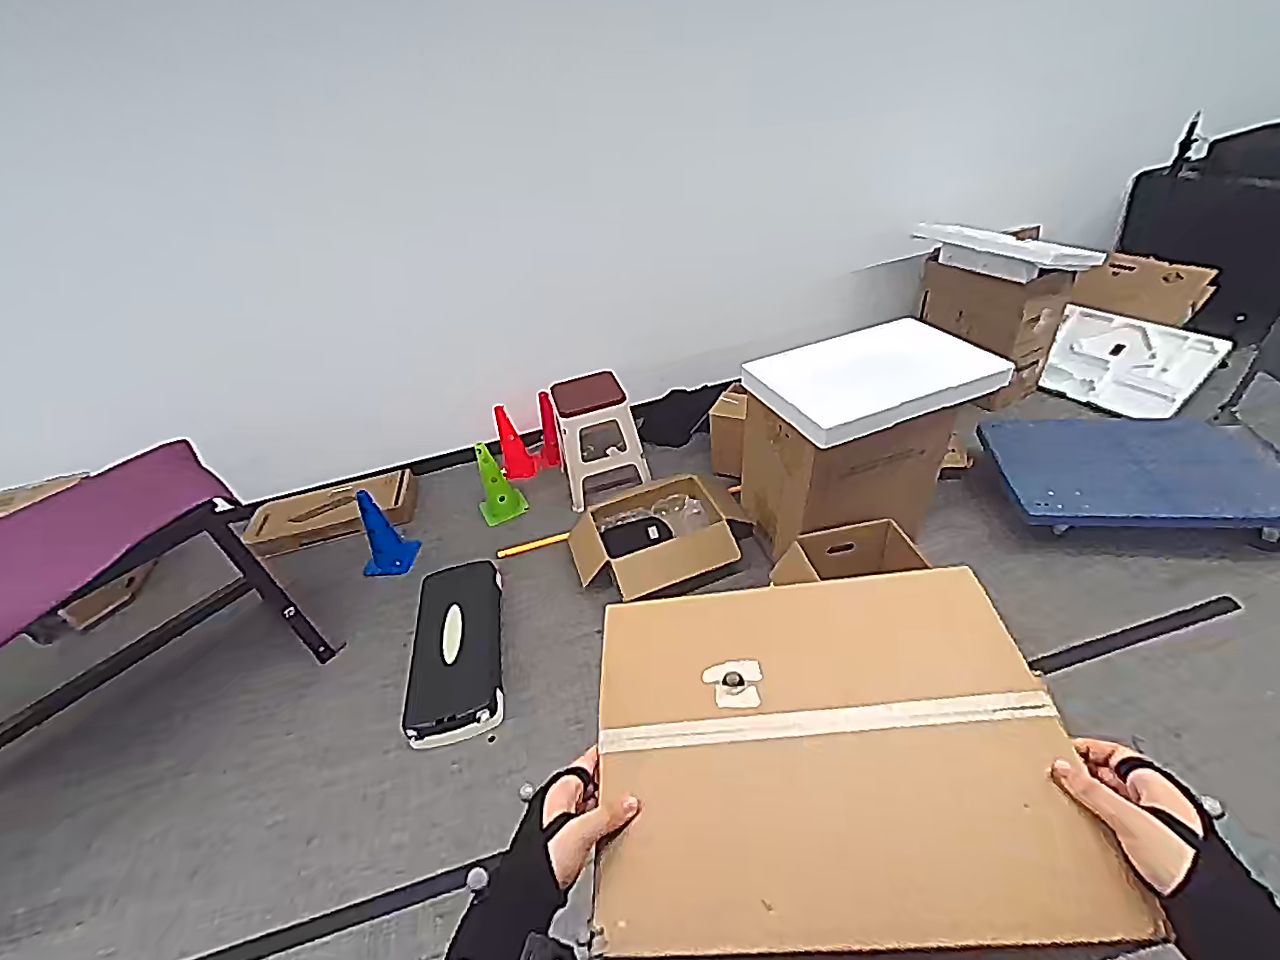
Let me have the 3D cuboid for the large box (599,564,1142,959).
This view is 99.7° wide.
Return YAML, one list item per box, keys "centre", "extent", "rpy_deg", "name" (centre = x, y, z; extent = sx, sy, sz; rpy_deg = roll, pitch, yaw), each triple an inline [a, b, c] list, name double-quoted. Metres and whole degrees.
- centre: [0.190, 0.333, 0.610]
  extent: [0.408, 0.320, 0.320]
  rpy_deg: [-9, 42, 8]
  name: "large box"
